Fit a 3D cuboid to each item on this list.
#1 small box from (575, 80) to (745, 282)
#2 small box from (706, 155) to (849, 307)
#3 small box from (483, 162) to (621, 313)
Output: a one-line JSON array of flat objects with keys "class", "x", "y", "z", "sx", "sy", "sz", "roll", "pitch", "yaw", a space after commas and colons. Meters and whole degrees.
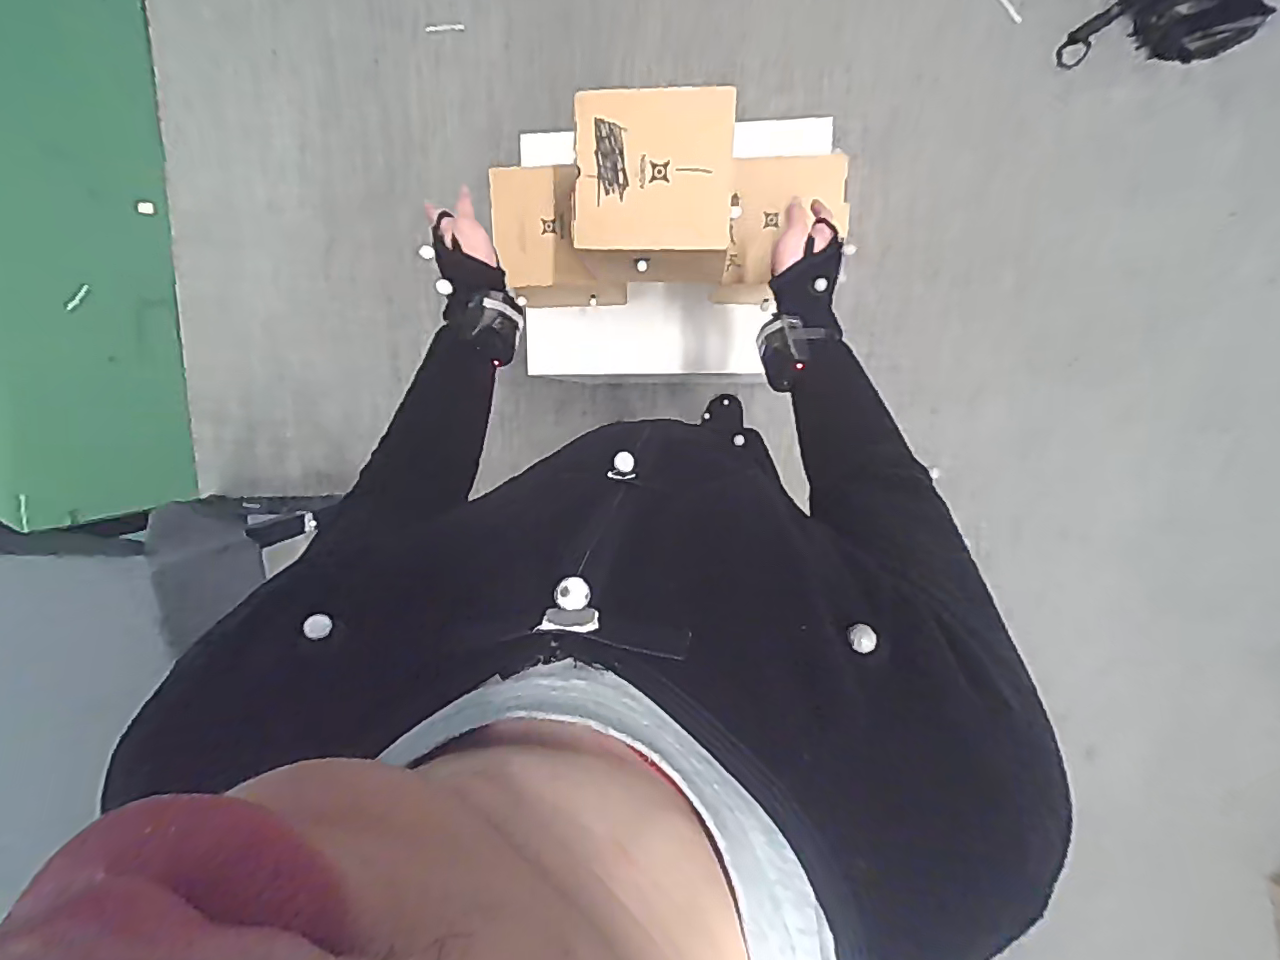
[{"class": "small box", "x": 0.025, "y": -0.340, "z": 0.647, "sx": 0.179, "sy": 0.176, "sz": 0.168, "roll": 1, "pitch": 98, "yaw": 3}, {"class": "small box", "x": 0.192, "y": -0.356, "z": 0.800, "sx": 0.179, "sy": 0.176, "sz": 0.168, "roll": 1, "pitch": 98, "yaw": 5}, {"class": "small box", "x": -0.120, "y": -0.355, "z": 0.819, "sx": 0.179, "sy": 0.176, "sz": 0.168, "roll": -2, "pitch": 96, "yaw": 4}]
